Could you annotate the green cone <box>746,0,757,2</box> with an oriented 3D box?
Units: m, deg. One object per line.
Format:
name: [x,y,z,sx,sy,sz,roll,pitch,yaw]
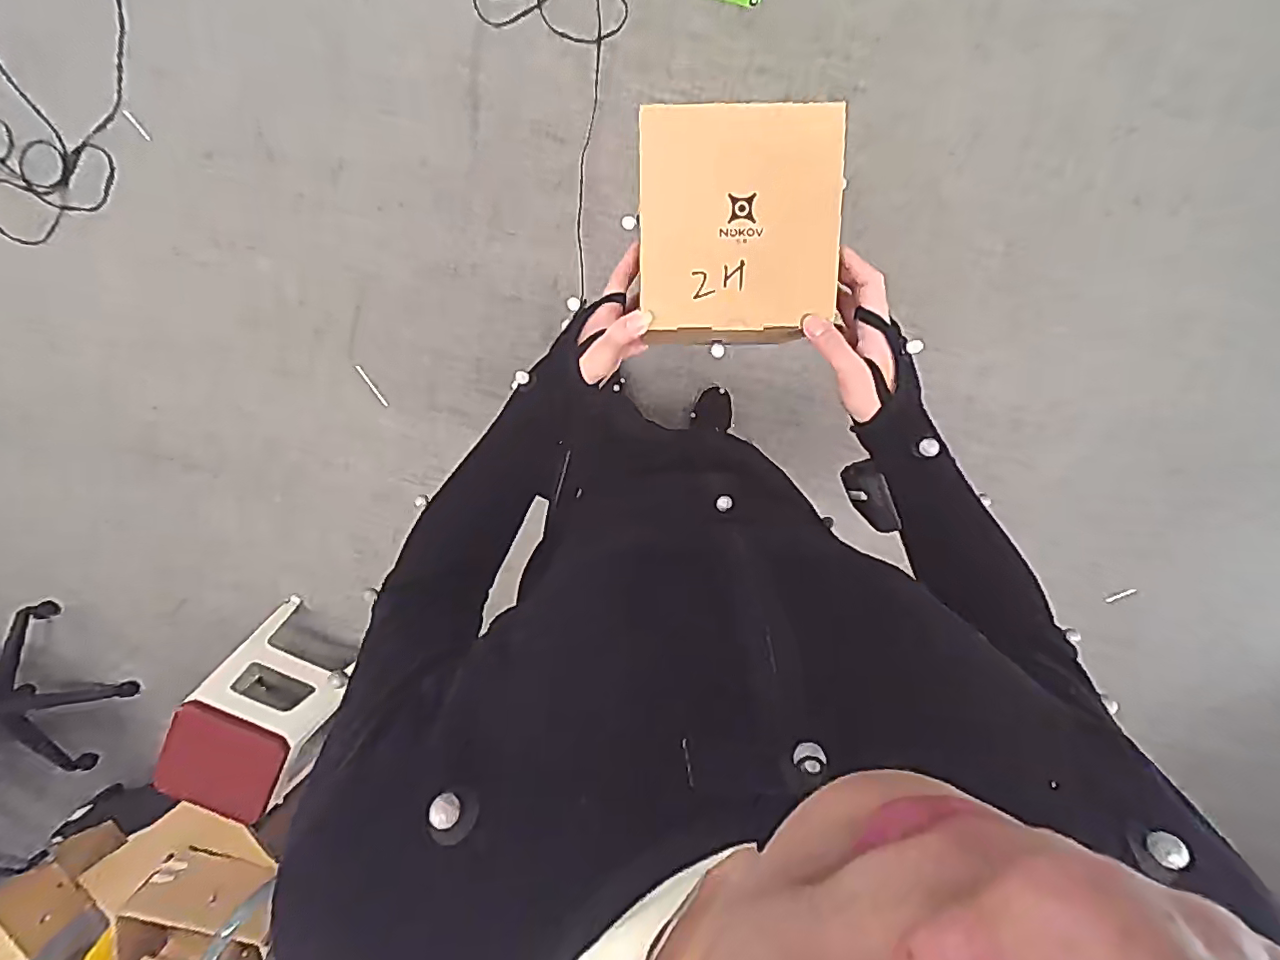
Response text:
green cone: [0.219,-1.243,1.129,0.202,0.368,0.200,15,103,-1]
